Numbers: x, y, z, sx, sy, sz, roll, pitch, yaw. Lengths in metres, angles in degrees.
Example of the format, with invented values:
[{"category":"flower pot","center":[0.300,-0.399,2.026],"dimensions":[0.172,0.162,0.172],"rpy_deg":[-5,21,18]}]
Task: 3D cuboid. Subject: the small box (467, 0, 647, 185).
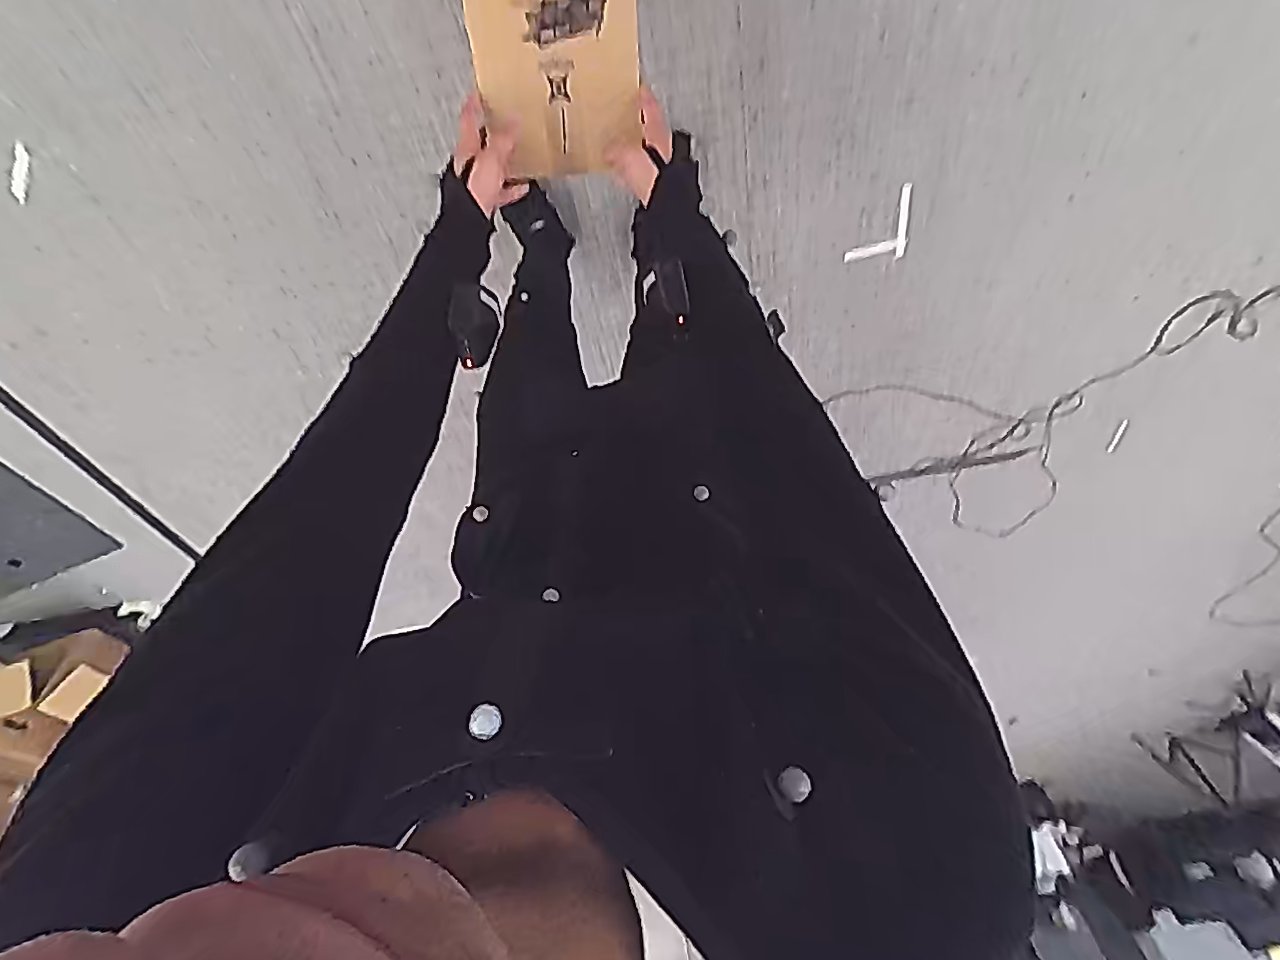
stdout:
[{"category":"small box","center":[-0.081,-0.443,0.605],"dimensions":[0.168,0.176,0.179],"rpy_deg":[-4,126,1]}]
